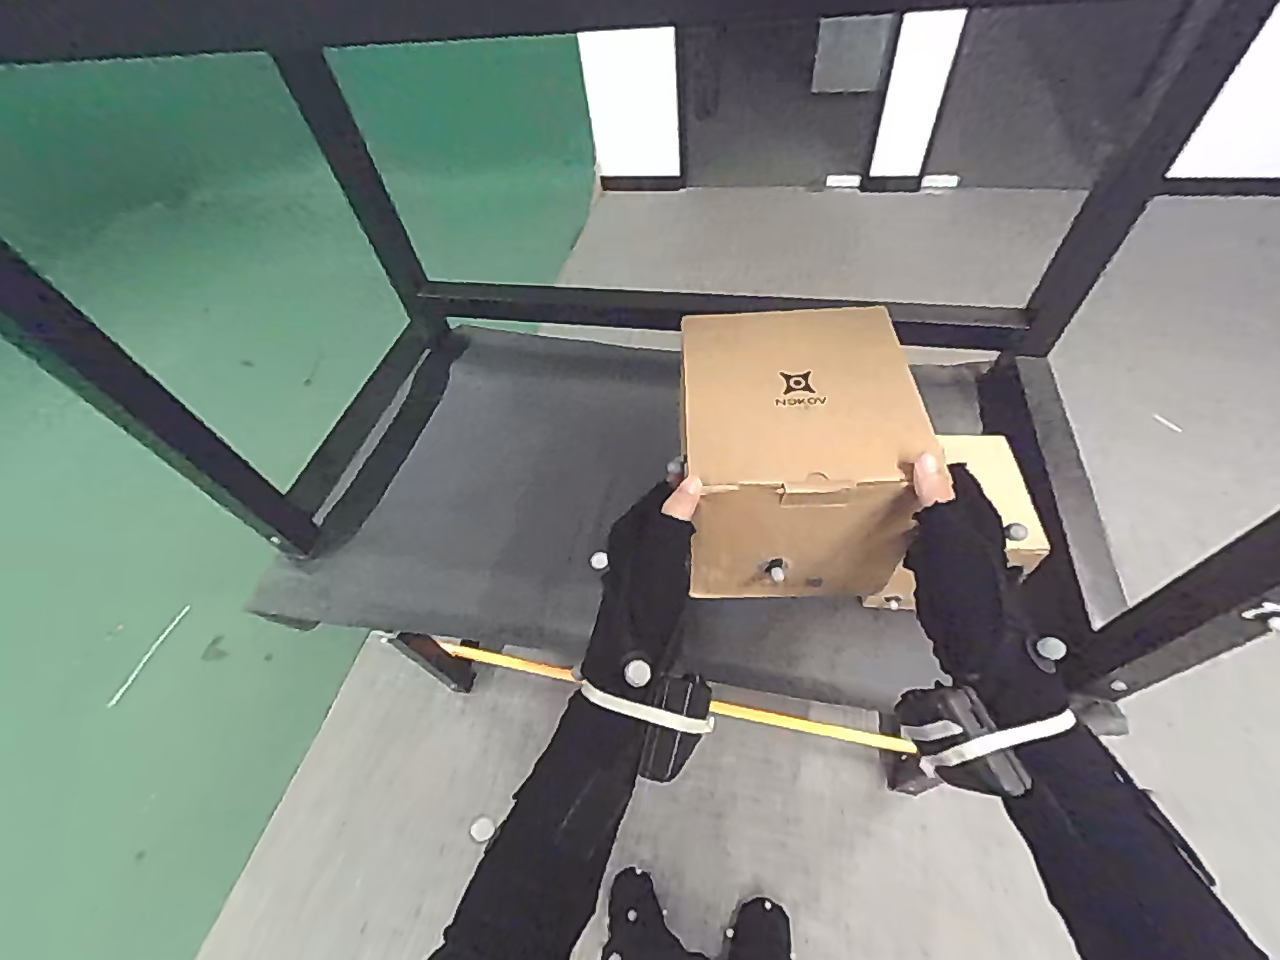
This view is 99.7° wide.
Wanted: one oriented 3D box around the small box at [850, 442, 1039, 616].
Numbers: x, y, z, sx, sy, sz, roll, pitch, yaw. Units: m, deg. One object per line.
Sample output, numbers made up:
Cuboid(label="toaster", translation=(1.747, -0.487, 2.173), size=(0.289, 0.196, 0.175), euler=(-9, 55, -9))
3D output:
Cuboid(label="small box", translation=(0.392, 0.069, 0.734), size=(0.168, 0.176, 0.179), euler=(2, 51, 9))
